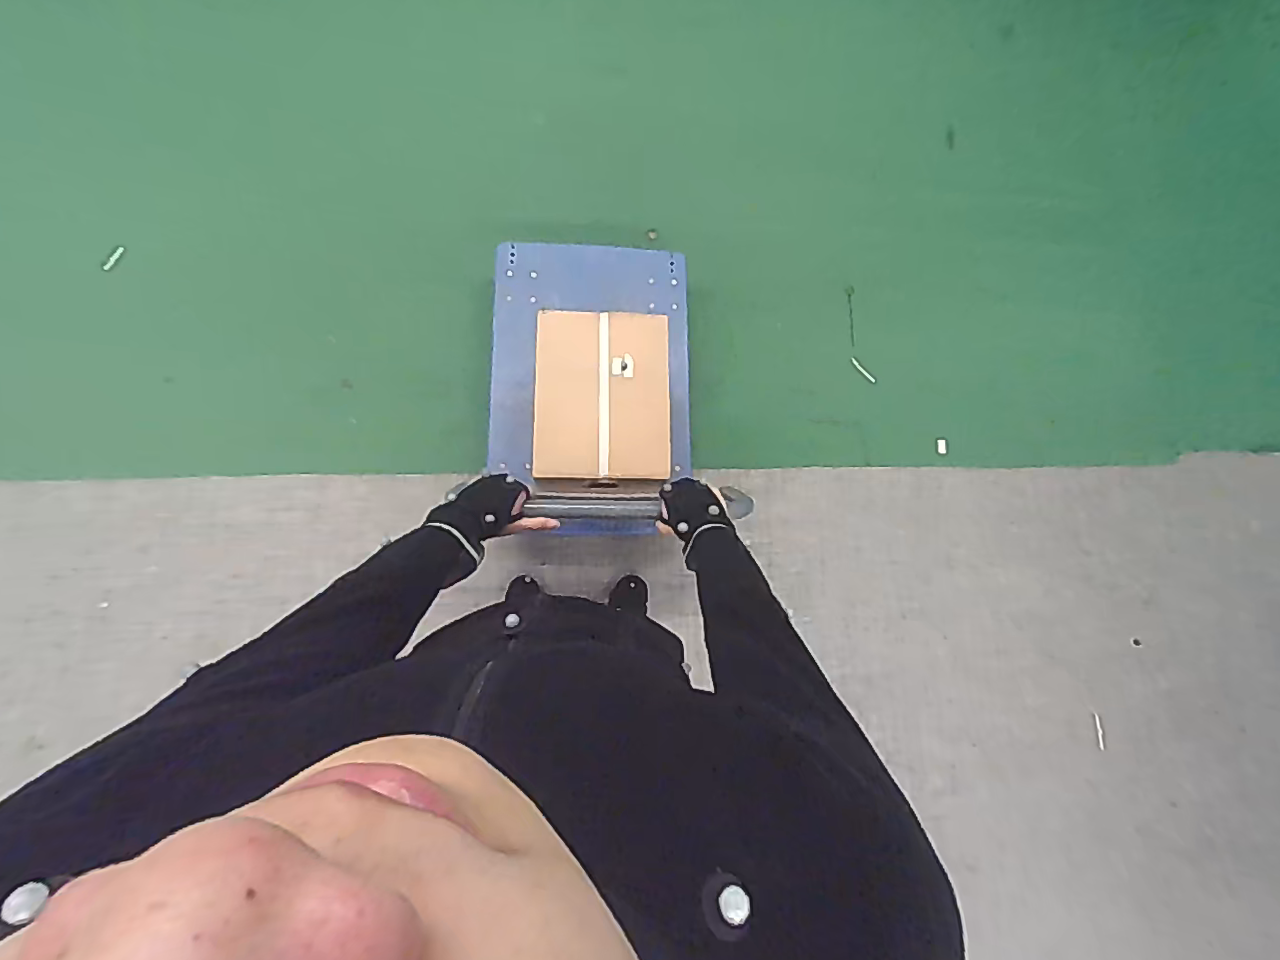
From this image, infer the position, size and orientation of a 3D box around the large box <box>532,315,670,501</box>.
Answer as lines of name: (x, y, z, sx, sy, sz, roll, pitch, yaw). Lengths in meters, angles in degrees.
large box: (-0.105, -0.165, 1.395, 0.320, 0.320, 0.408, 1, 79, -7)
